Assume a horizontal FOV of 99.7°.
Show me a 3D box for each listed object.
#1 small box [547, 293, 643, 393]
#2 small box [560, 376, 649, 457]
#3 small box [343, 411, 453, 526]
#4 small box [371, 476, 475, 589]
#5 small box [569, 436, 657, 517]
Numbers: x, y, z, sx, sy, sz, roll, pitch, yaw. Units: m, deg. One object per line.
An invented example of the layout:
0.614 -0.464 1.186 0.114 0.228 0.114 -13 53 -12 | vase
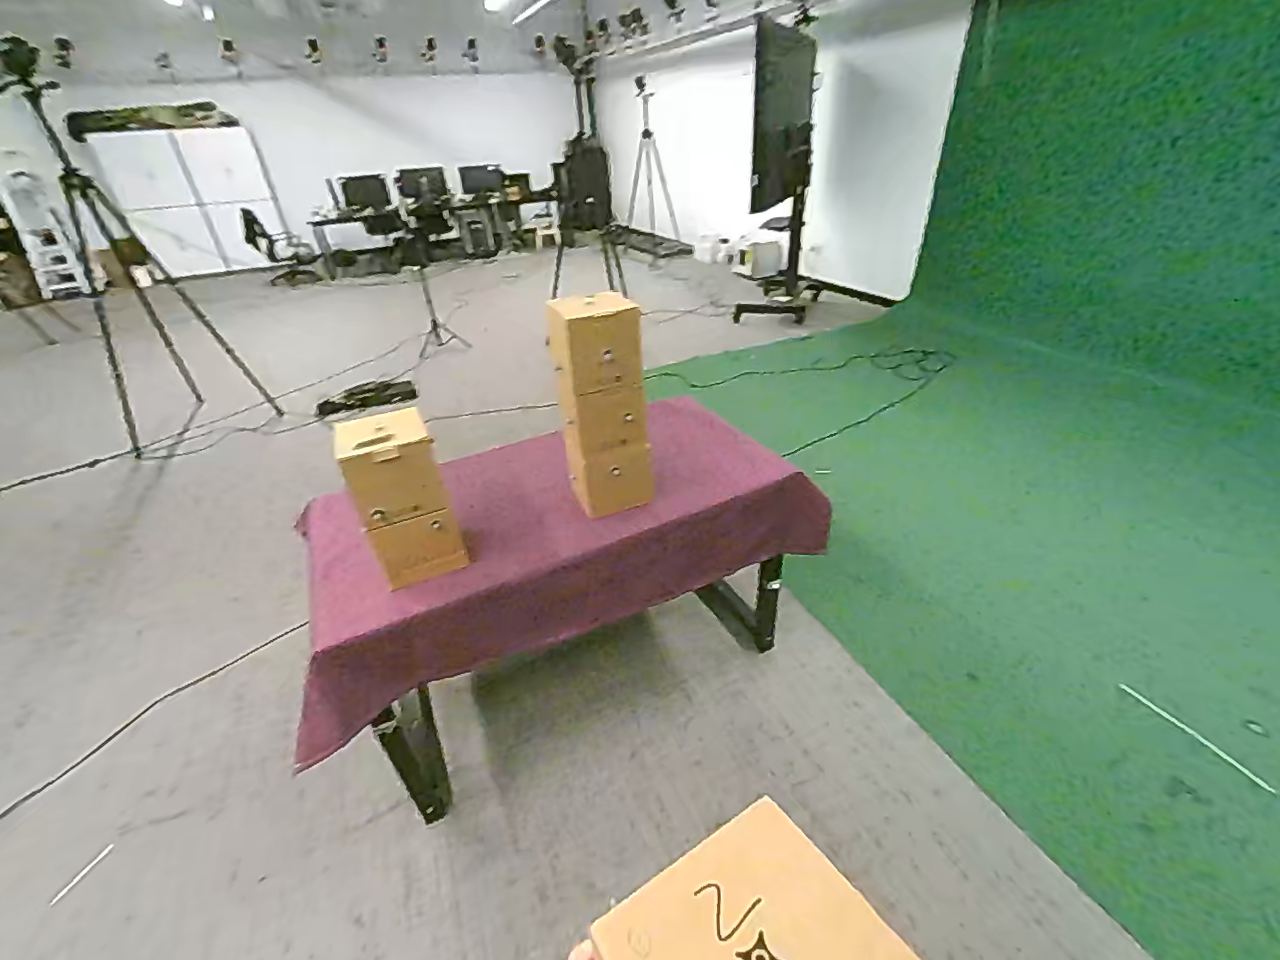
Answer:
-0.099 -0.305 1.217 0.168 0.176 0.179 -15 35 -17 | small box
-0.084 -0.168 1.306 0.168 0.176 0.179 -15 34 -16 | small box
-0.507 -0.020 1.138 0.168 0.176 0.179 -18 34 -20 | small box
-0.492 0.119 1.224 0.179 0.176 0.168 -18 35 -19 | small box
-0.067 -0.028 1.387 0.179 0.176 0.168 -16 35 -16 | small box
